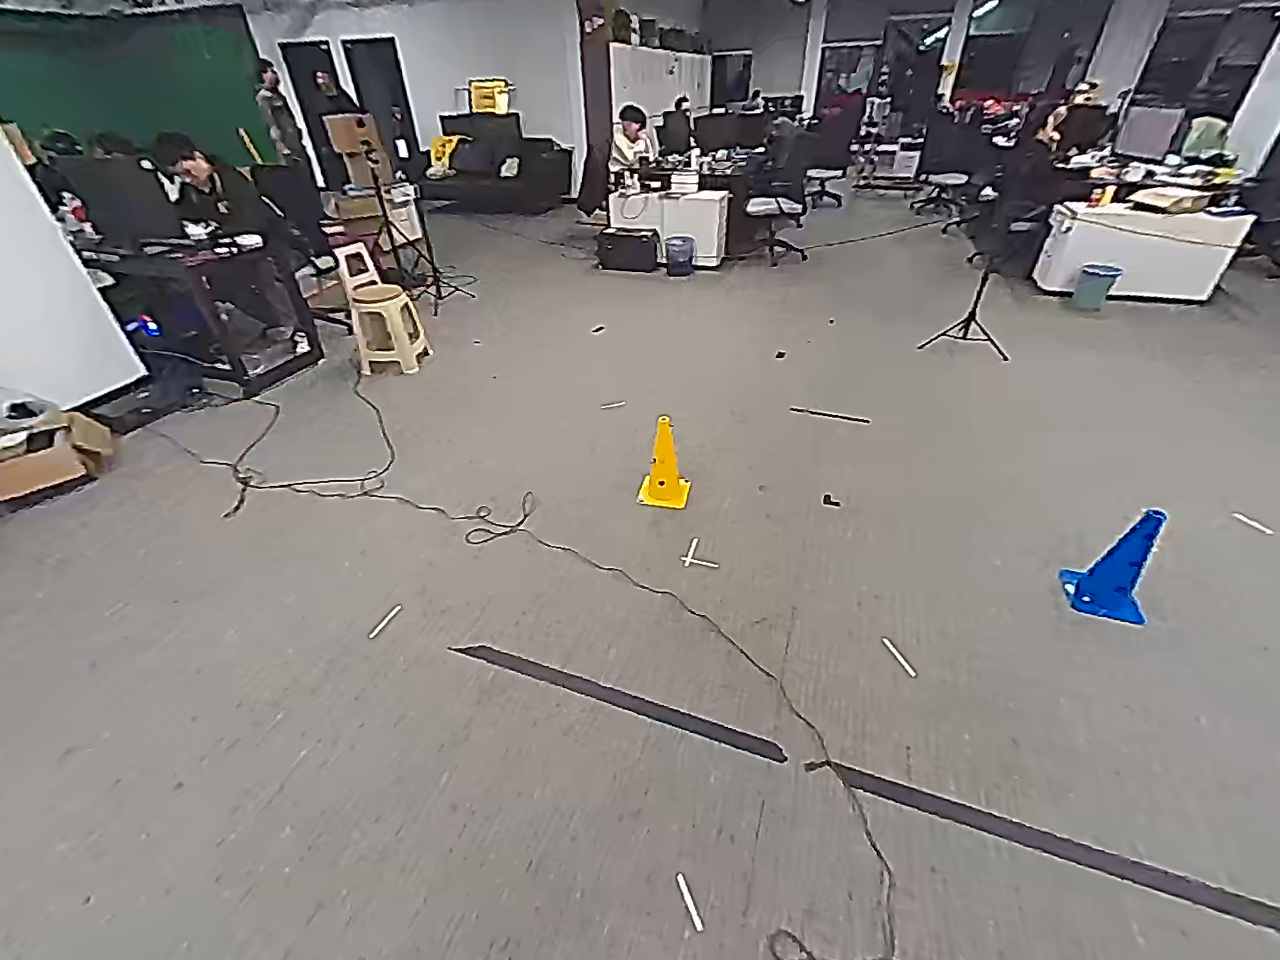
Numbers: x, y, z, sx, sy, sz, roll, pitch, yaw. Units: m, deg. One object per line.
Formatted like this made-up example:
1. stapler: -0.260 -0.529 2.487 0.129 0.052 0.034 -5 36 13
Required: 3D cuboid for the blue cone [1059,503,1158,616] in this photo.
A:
1. blue cone: 1.516 0.236 1.700 0.193 0.380 0.192 11 37 17
